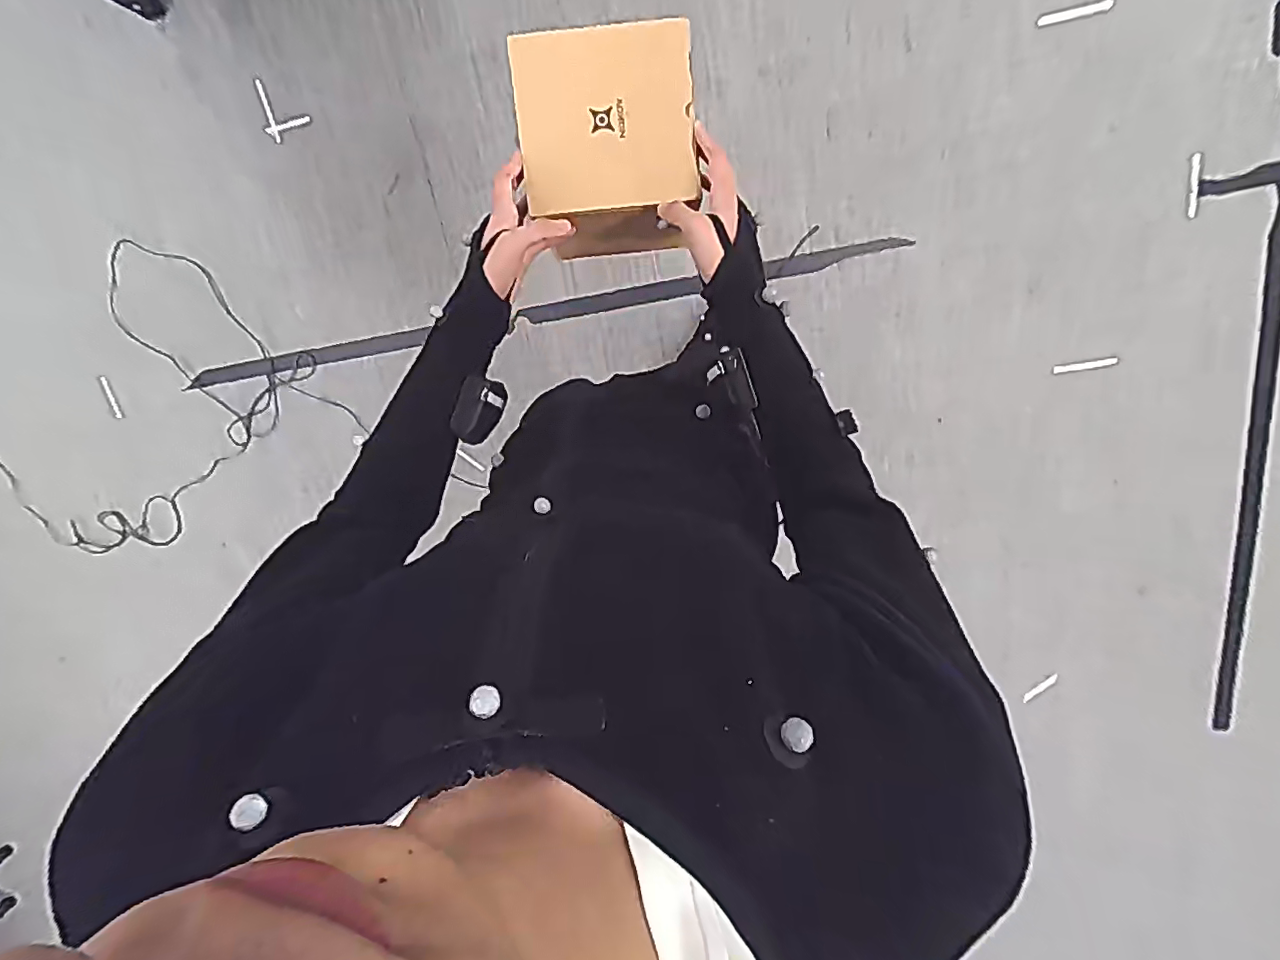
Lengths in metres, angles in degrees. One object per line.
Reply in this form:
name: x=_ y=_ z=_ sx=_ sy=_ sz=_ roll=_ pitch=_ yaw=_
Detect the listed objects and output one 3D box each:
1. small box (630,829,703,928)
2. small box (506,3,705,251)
small box: x=0.080 y=1.157 z=1.579 sx=0.179 sy=0.176 sz=0.168 roll=-12 pitch=106 yaw=9
small box: x=-0.031 y=-0.360 z=0.587 sx=0.179 sy=0.176 sz=0.168 roll=-6 pitch=98 yaw=0
